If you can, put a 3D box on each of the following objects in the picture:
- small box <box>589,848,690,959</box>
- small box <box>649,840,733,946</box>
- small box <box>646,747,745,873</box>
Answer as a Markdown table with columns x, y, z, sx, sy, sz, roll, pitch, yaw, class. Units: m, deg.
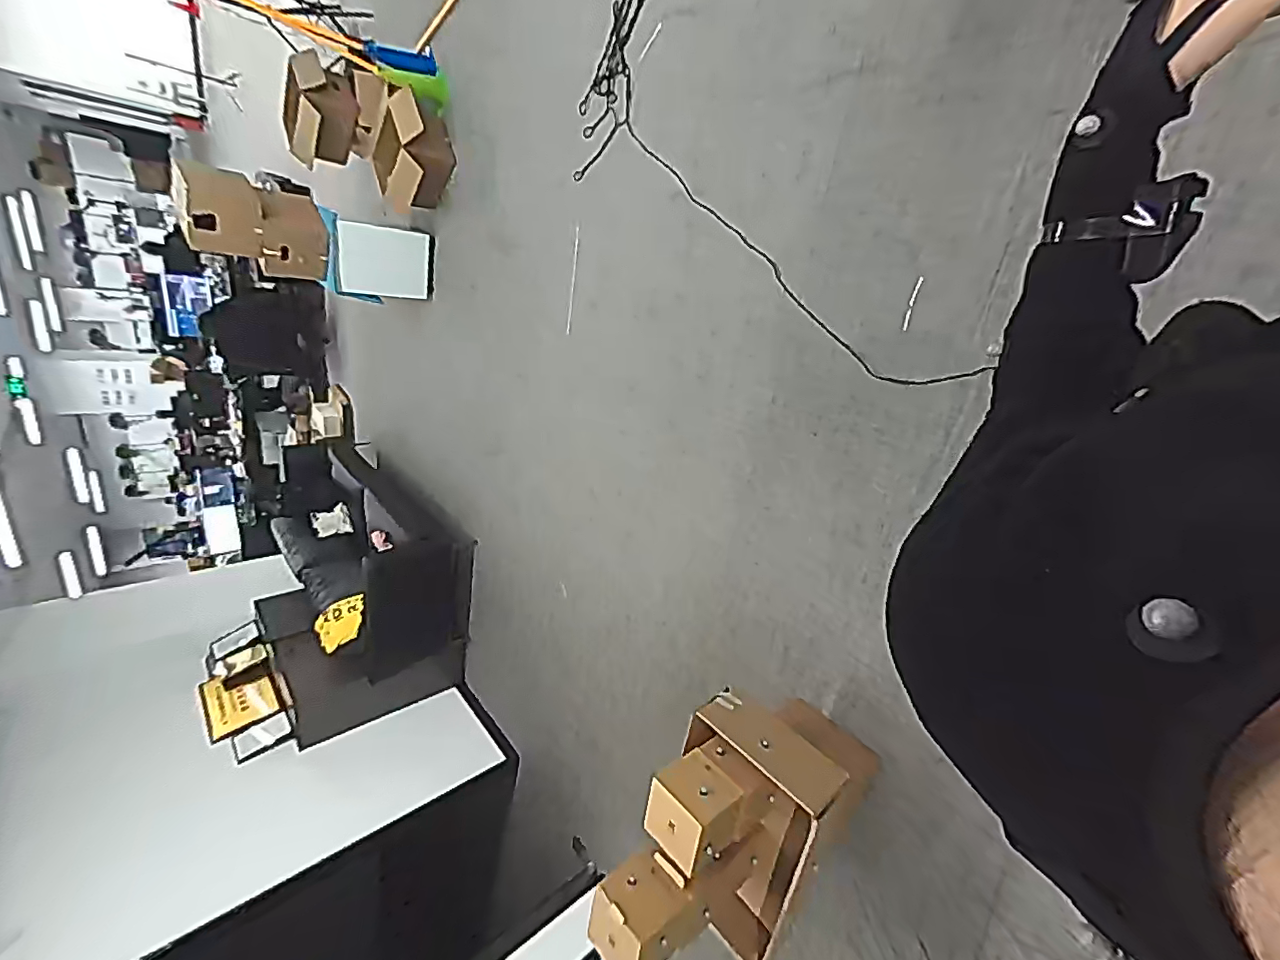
| x | y | z | sx | sy | sz | roll | pitch | yaw | class |
| --- | --- | --- | --- | --- | --- | --- | --- | --- | --- |
| 0.002 | 1.055 | 1.316 | 0.168 | 0.176 | 0.179 | 26 | 113 | 42 | small box |
| 0.124 | 1.043 | 1.423 | 0.168 | 0.176 | 0.179 | 22 | 111 | 43 | small box |
| 0.142 | 0.816 | 1.358 | 0.168 | 0.176 | 0.179 | 26 | 117 | 41 | small box |
